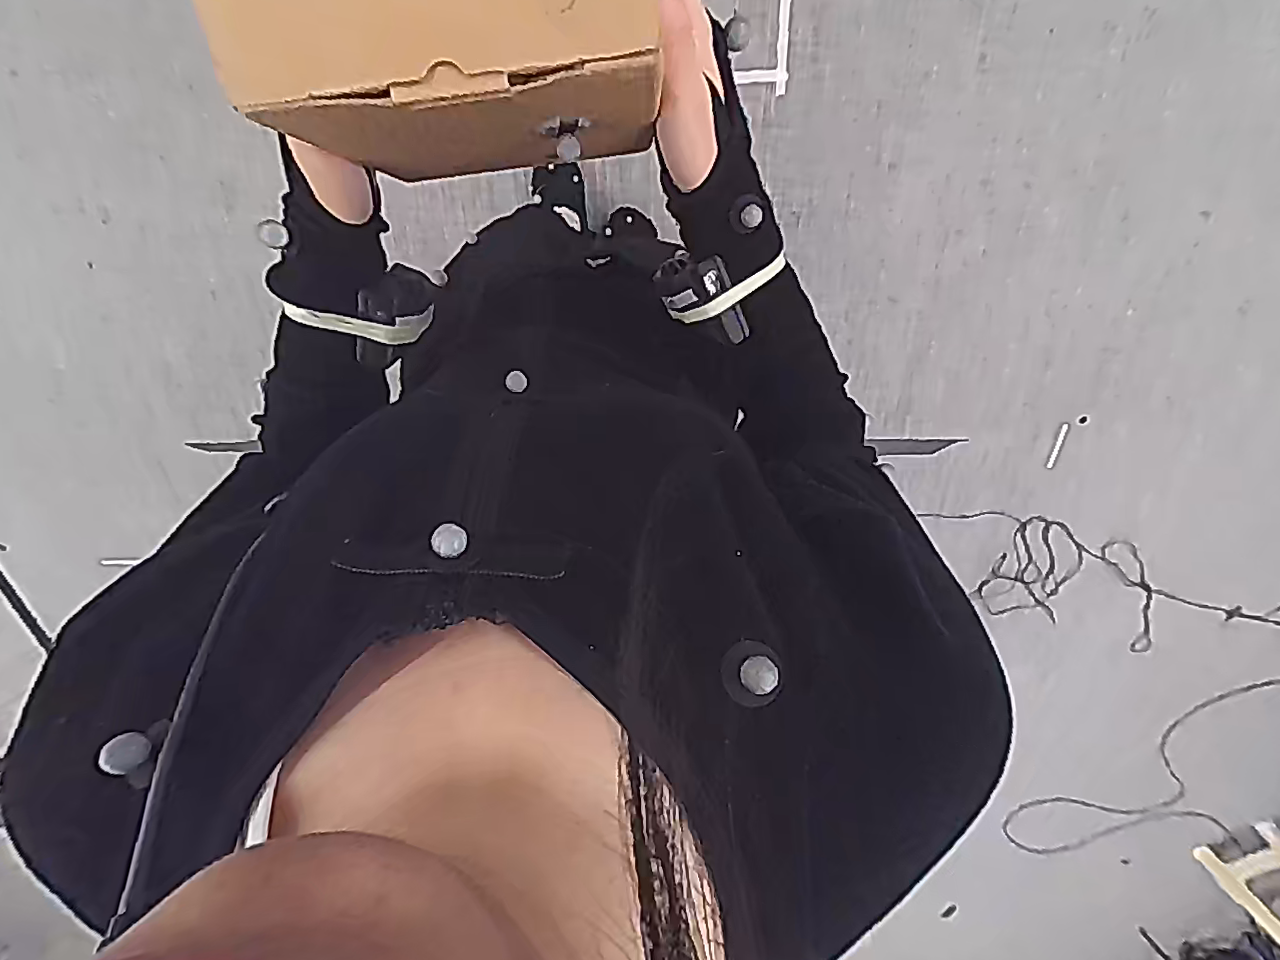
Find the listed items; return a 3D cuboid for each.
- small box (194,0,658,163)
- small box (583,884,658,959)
[{"bbox_3d":[-0.083,-0.258,0.243,0.168,0.176,0.179,-7,110,0],"label":"small box"},{"bbox_3d":[-0.046,1.071,1.253,0.168,0.176,0.179,0,118,-1],"label":"small box"}]
